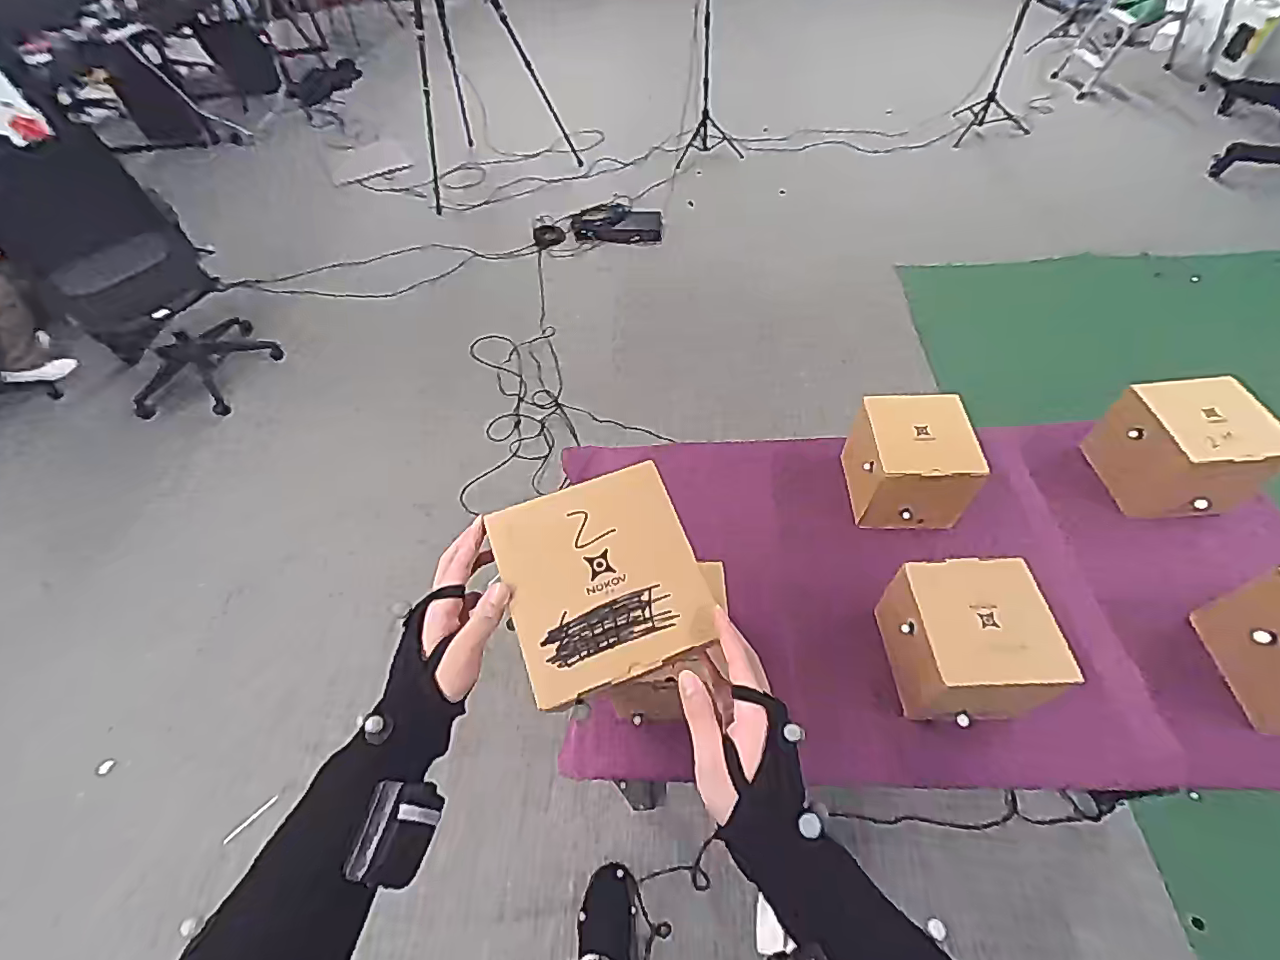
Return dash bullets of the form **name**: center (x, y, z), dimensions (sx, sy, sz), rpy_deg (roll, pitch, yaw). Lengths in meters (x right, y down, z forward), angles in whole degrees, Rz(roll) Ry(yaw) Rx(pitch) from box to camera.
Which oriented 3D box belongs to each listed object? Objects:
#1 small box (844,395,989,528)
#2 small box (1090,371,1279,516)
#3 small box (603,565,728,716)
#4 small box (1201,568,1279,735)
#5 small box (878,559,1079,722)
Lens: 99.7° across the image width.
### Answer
- **small box**: center (0.476, -0.032, 0.964), dimensions (0.168, 0.176, 0.179), rpy_deg (-1, 55, 5)
- **small box**: center (0.930, -0.059, 0.923), dimensions (0.168, 0.176, 0.179), rpy_deg (-6, 54, 6)
- **small box**: center (0.043, 0.245, 0.807), dimensions (0.168, 0.176, 0.179), rpy_deg (-3, 51, 5)
- **small box**: center (0.923, 0.227, 0.712), dimensions (0.168, 0.176, 0.179), rpy_deg (-3, 54, 7)
- **small box**: center (0.458, 0.230, 0.770), dimensions (0.168, 0.176, 0.179), rpy_deg (-3, 52, 6)
